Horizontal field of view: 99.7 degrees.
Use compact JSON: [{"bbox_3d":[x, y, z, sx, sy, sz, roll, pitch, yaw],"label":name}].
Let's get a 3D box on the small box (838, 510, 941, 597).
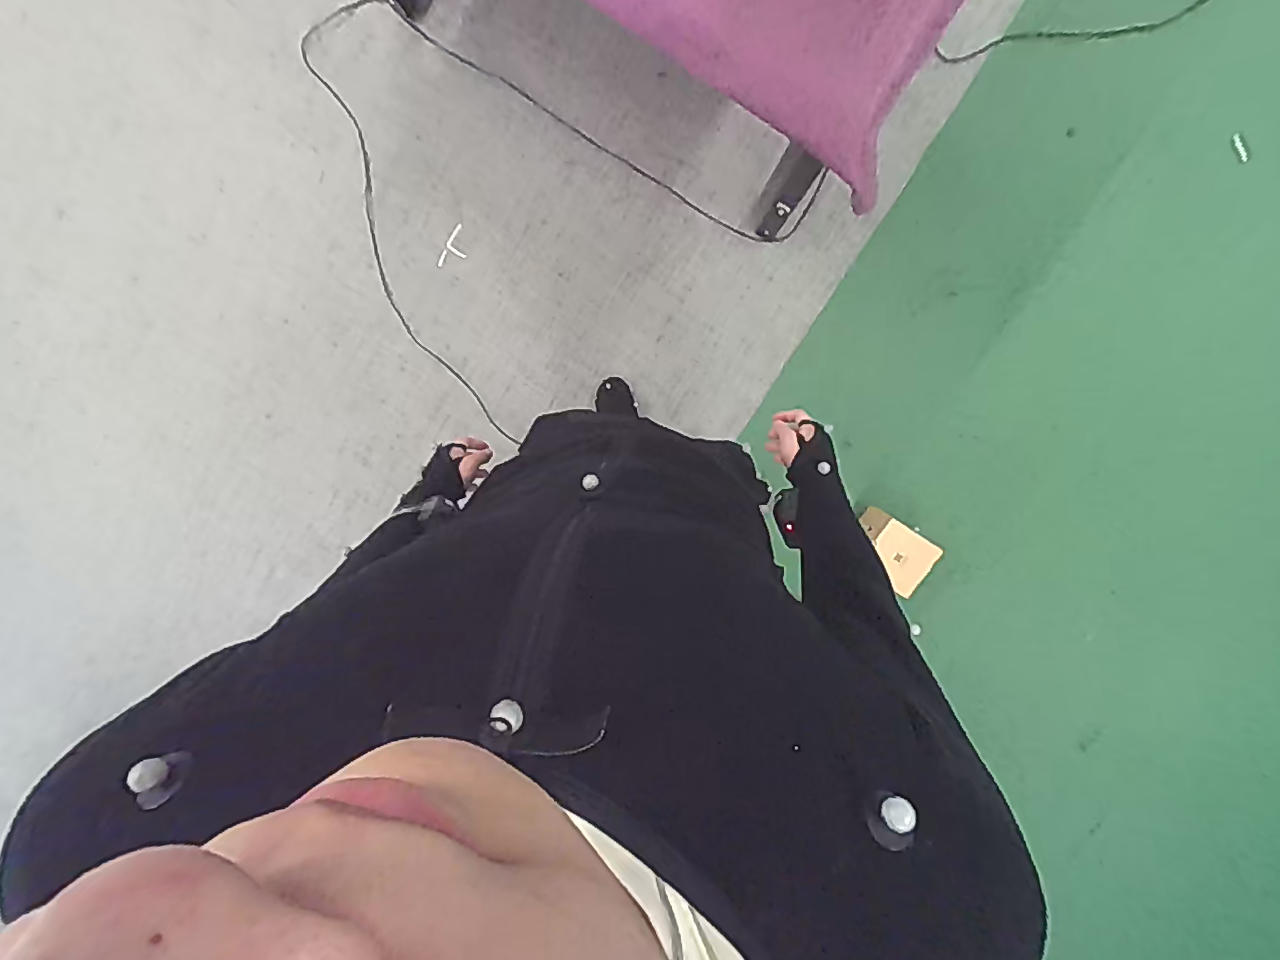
[{"bbox_3d":[0.705,0.201,1.554,0.179,0.176,0.168,32,99,-5],"label":"small box"}]
